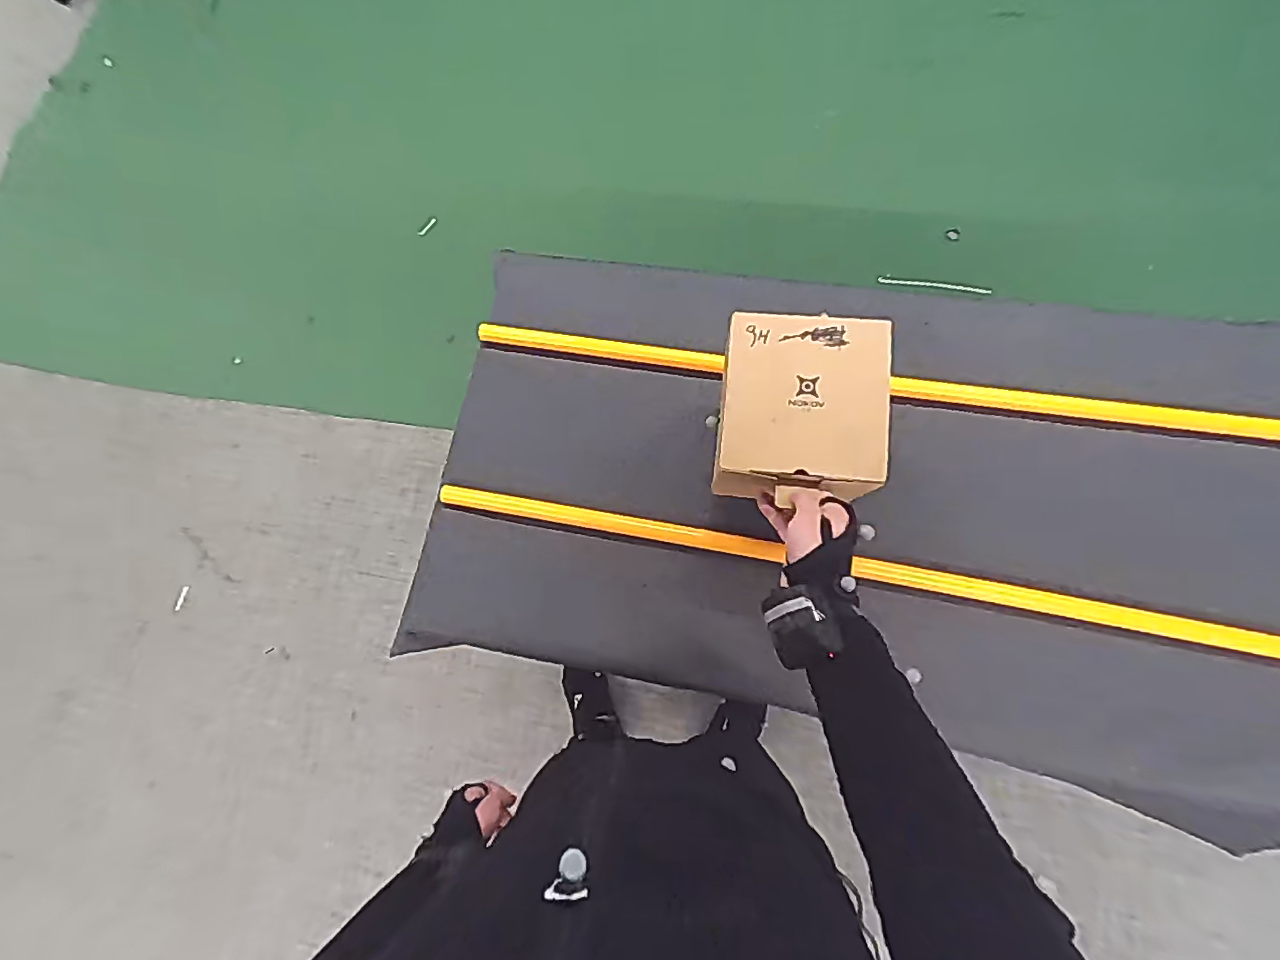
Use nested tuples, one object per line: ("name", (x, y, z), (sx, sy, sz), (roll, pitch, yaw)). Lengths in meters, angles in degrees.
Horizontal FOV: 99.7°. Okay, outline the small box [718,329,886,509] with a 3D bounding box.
("small box", (0.180, -0.062, 0.638), (0.168, 0.176, 0.179), (2, 80, 8))
